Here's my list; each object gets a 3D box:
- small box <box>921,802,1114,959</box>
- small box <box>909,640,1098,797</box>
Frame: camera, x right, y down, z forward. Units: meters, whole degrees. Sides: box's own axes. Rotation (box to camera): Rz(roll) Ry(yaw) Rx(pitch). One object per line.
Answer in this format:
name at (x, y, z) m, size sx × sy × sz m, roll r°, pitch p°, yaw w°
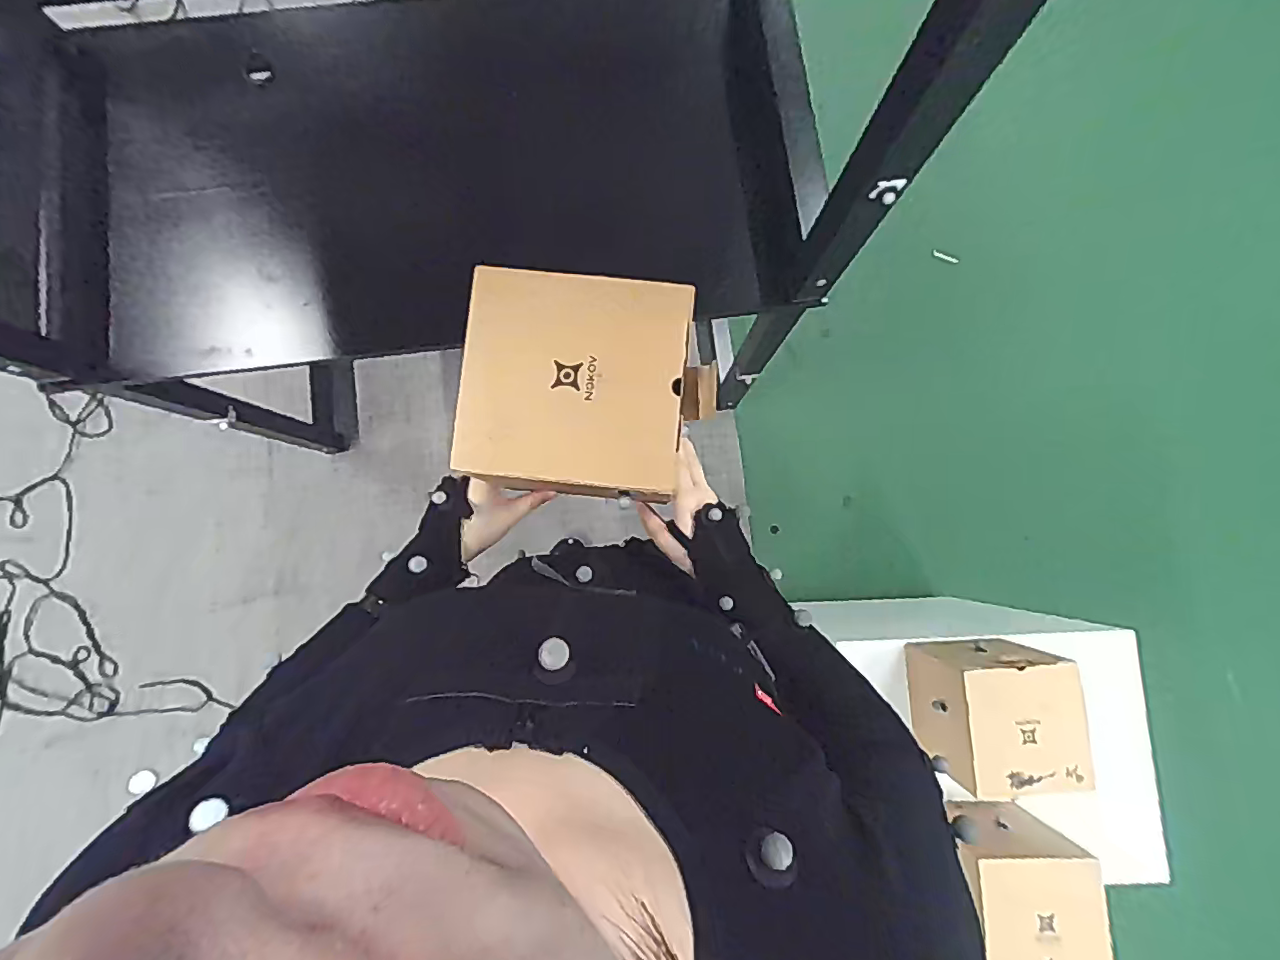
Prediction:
small box at (0.528, 0.590, 0.781) m, size 0.168 × 0.176 × 0.179 m, roll -1°, pitch 84°, yaw 0°
small box at (0.526, 0.342, 0.810) m, size 0.168 × 0.176 × 0.179 m, roll -3°, pitch 84°, yaw 0°
